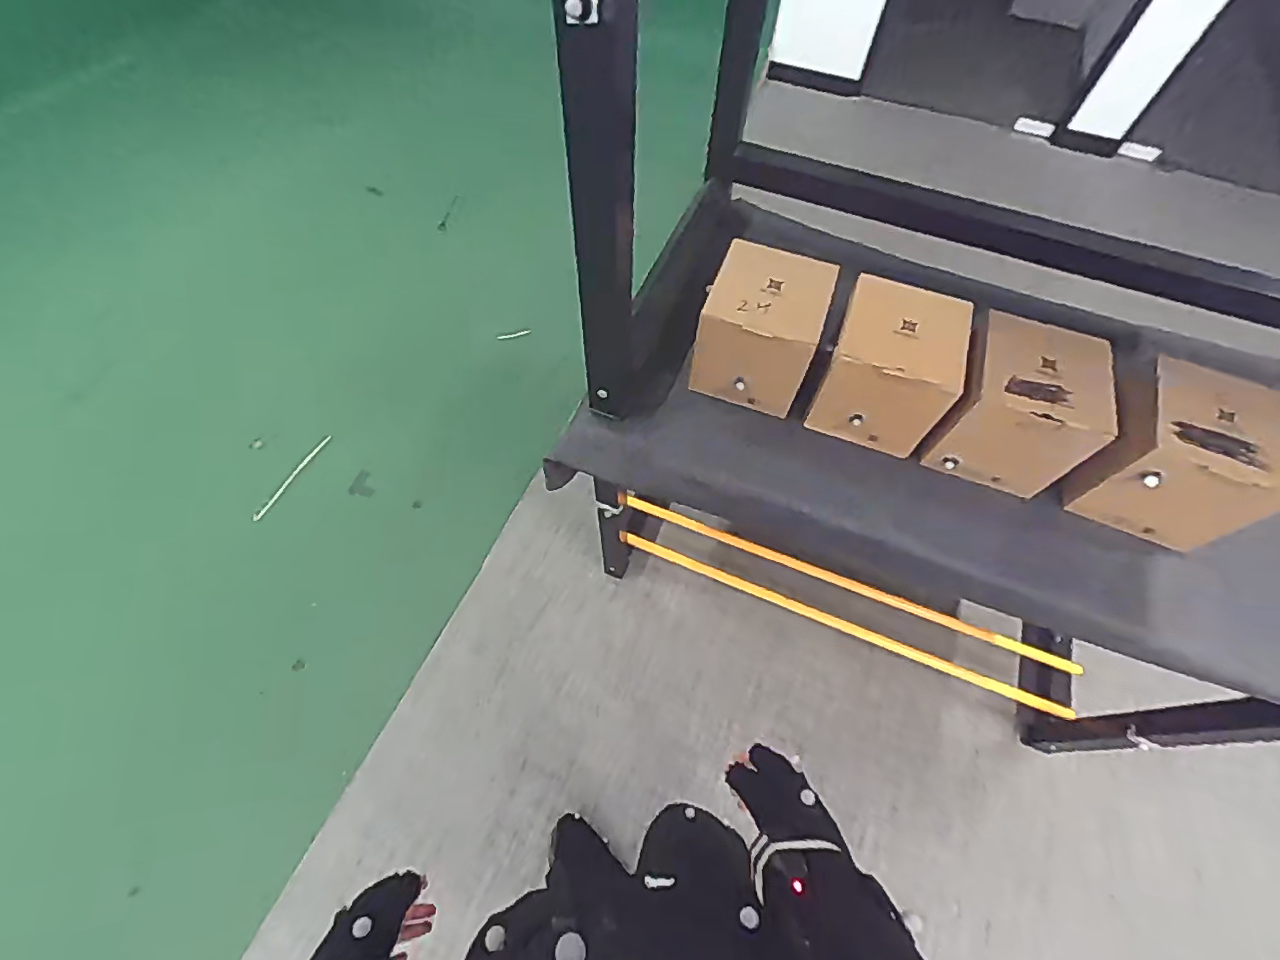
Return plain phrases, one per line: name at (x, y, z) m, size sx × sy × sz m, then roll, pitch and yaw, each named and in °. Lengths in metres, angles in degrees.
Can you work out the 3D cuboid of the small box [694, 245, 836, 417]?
small box at (0.191, -0.232, 0.862) m, size 0.168 × 0.176 × 0.179 m, roll 18°, pitch 62°, yaw 9°
